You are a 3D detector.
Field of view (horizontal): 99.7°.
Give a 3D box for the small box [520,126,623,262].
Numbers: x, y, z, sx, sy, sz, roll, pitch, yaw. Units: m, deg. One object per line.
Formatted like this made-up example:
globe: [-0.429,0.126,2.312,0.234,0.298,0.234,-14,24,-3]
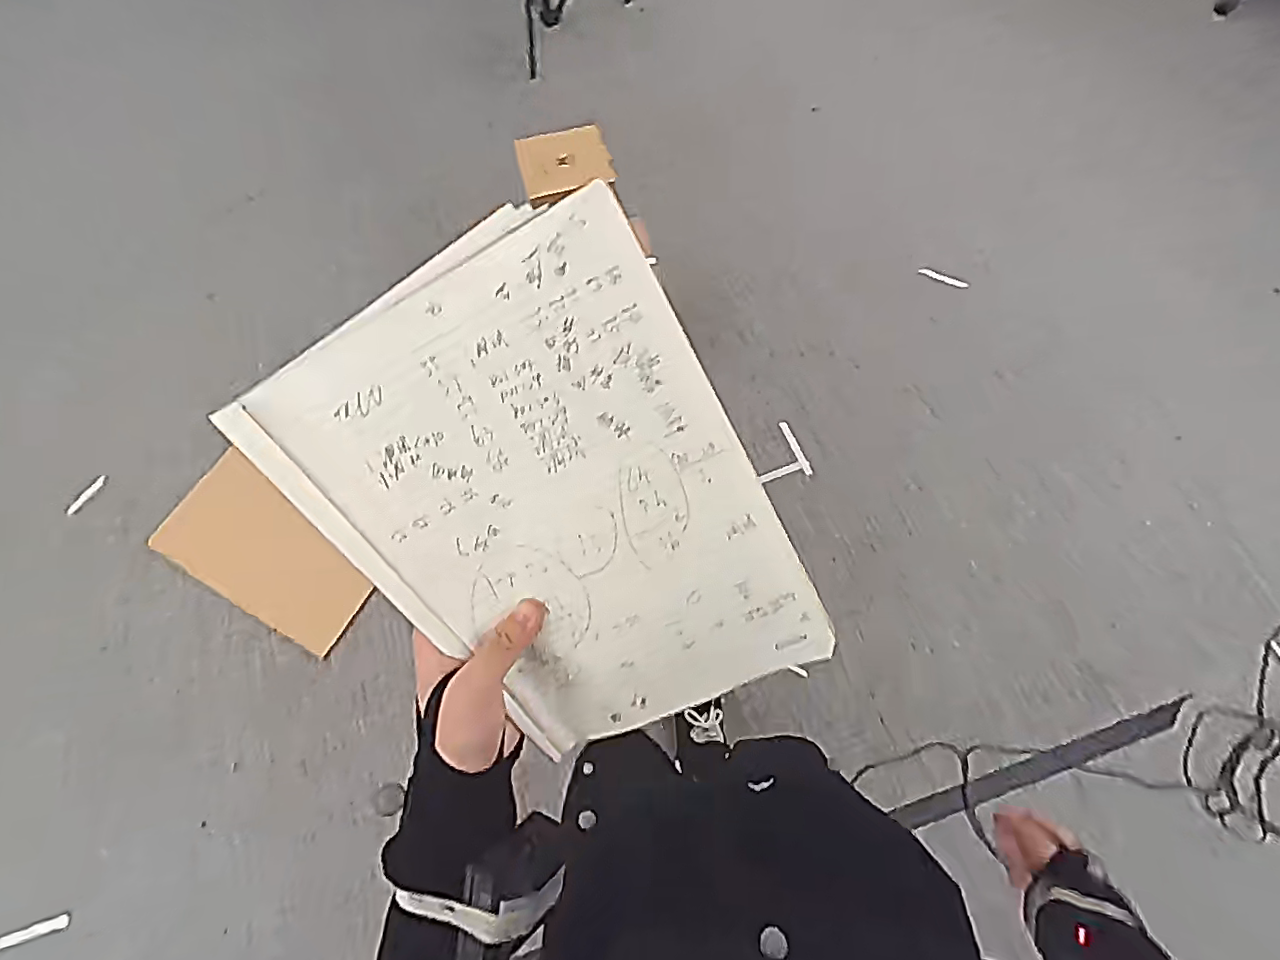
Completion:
small box: [-0.136,-0.590,1.129,0.179,0.176,0.168,-15,69,-4]
